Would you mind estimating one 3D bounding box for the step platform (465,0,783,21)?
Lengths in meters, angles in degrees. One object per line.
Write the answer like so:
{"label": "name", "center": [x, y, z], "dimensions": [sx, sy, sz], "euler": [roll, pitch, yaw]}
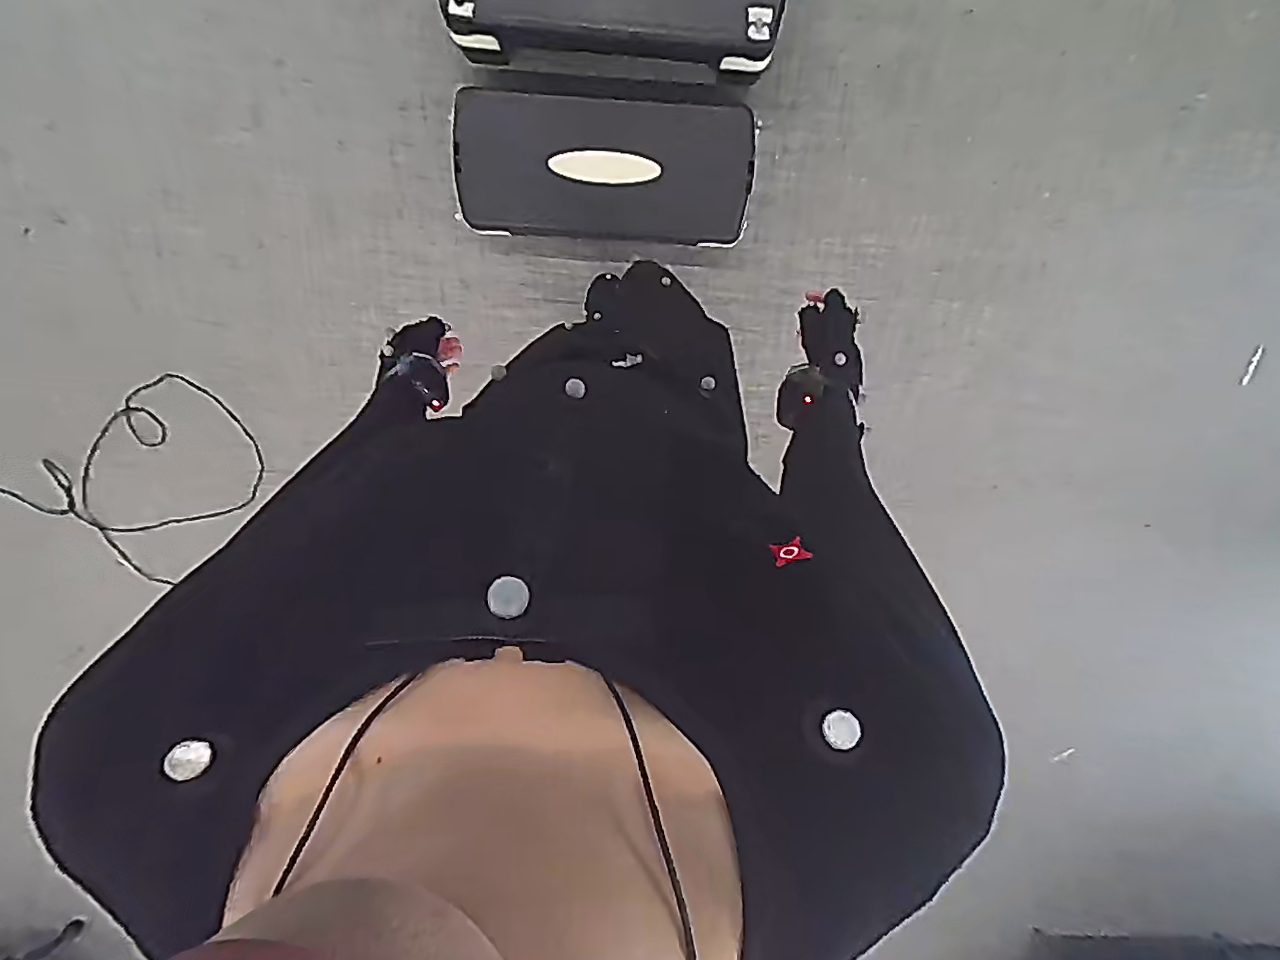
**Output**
{"label": "step platform", "center": [-0.069, -0.950, 0.856], "dimensions": [0.684, 0.204, 0.286], "euler": [3, 111, -2]}
